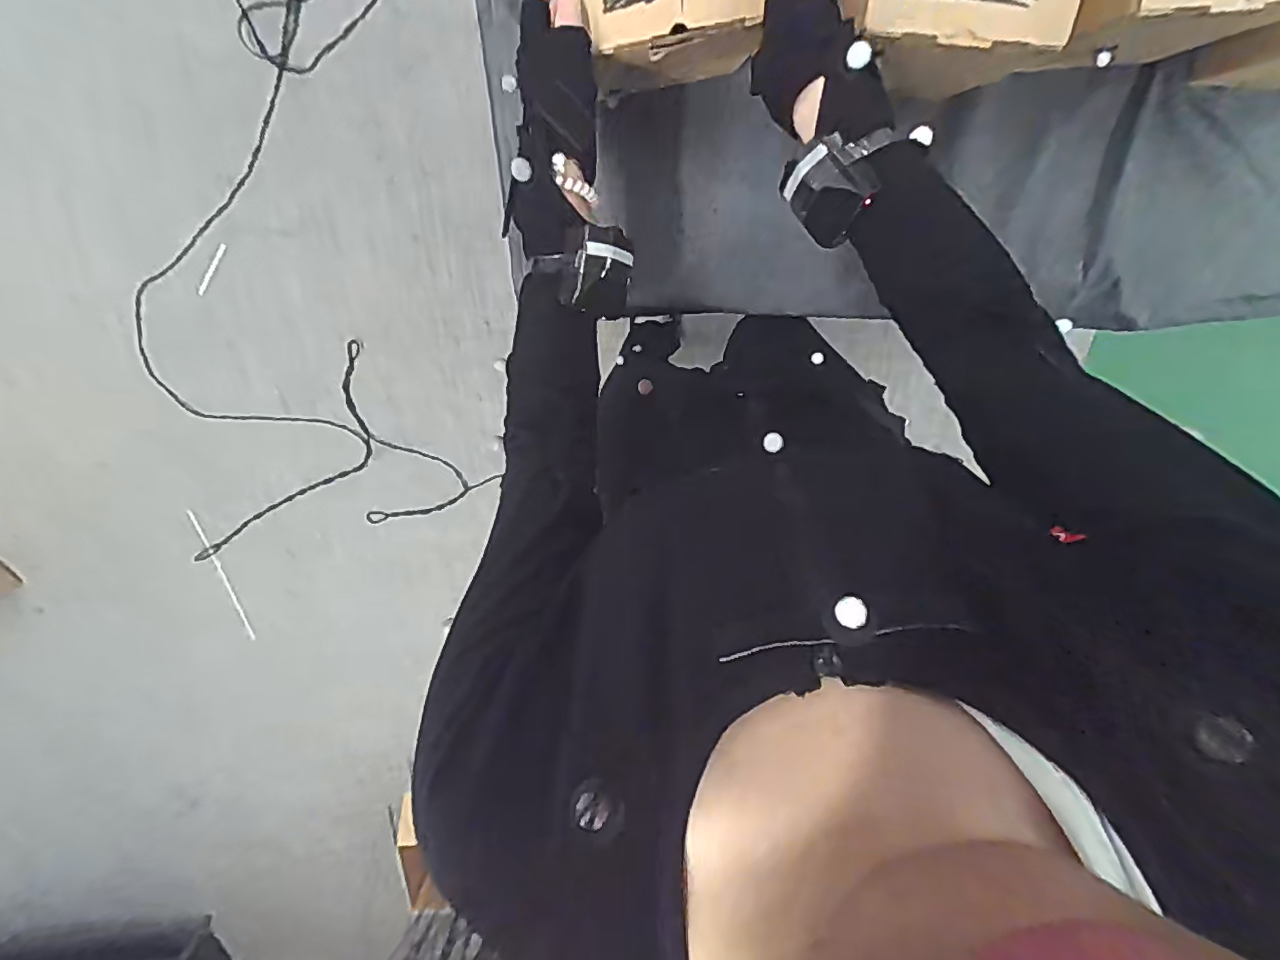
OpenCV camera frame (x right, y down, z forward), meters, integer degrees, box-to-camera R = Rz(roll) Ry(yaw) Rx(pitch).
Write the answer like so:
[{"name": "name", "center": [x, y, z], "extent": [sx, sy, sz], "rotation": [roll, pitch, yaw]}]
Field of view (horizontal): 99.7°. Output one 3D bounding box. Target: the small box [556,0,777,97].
[{"name": "small box", "center": [0.007, -0.444, 0.449], "extent": [0.168, 0.176, 0.179], "rotation": [-11, 115, 1]}]
